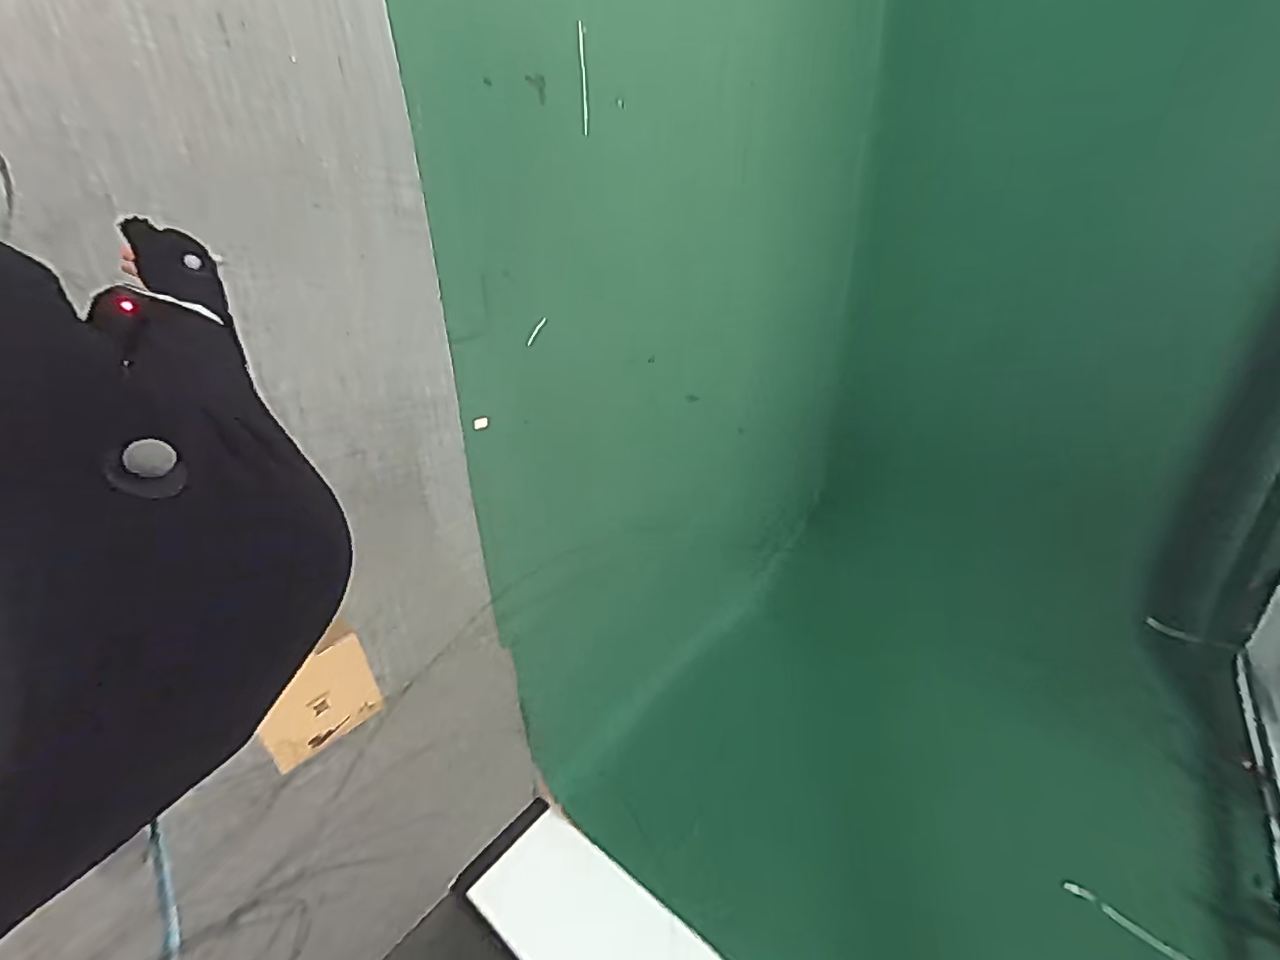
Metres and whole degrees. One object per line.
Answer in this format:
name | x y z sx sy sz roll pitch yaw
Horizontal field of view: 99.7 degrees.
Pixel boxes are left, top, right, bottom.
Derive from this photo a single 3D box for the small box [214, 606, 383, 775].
small box | -0.565 0.333 0.899 0.168 0.176 0.179 -29 126 -40
